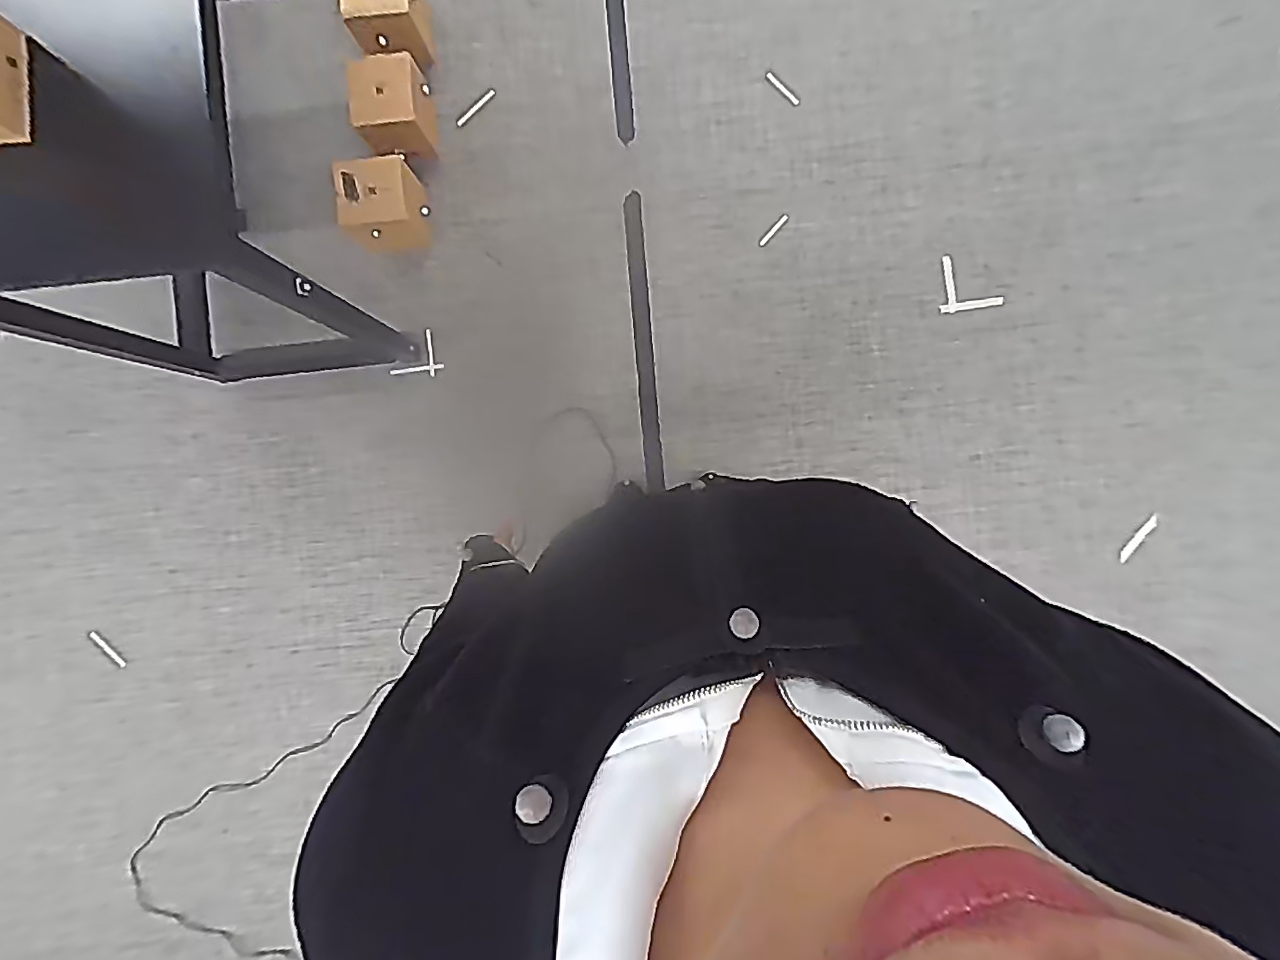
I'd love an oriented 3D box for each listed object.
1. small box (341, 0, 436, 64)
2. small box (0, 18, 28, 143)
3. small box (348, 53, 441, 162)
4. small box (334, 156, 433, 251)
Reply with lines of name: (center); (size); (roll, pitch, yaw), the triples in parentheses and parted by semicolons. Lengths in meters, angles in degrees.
small box: (-0.671, -1.249, 1.445); (0.179, 0.176, 0.168); (-6, 91, 2)
small box: (-0.990, -0.580, 0.725); (0.179, 0.176, 0.168); (-2, 89, 2)
small box: (-0.650, -0.987, 1.447); (0.168, 0.176, 0.179); (-6, 90, 2)
small box: (-0.680, -0.730, 1.446); (0.179, 0.176, 0.168); (-6, 90, 1)
